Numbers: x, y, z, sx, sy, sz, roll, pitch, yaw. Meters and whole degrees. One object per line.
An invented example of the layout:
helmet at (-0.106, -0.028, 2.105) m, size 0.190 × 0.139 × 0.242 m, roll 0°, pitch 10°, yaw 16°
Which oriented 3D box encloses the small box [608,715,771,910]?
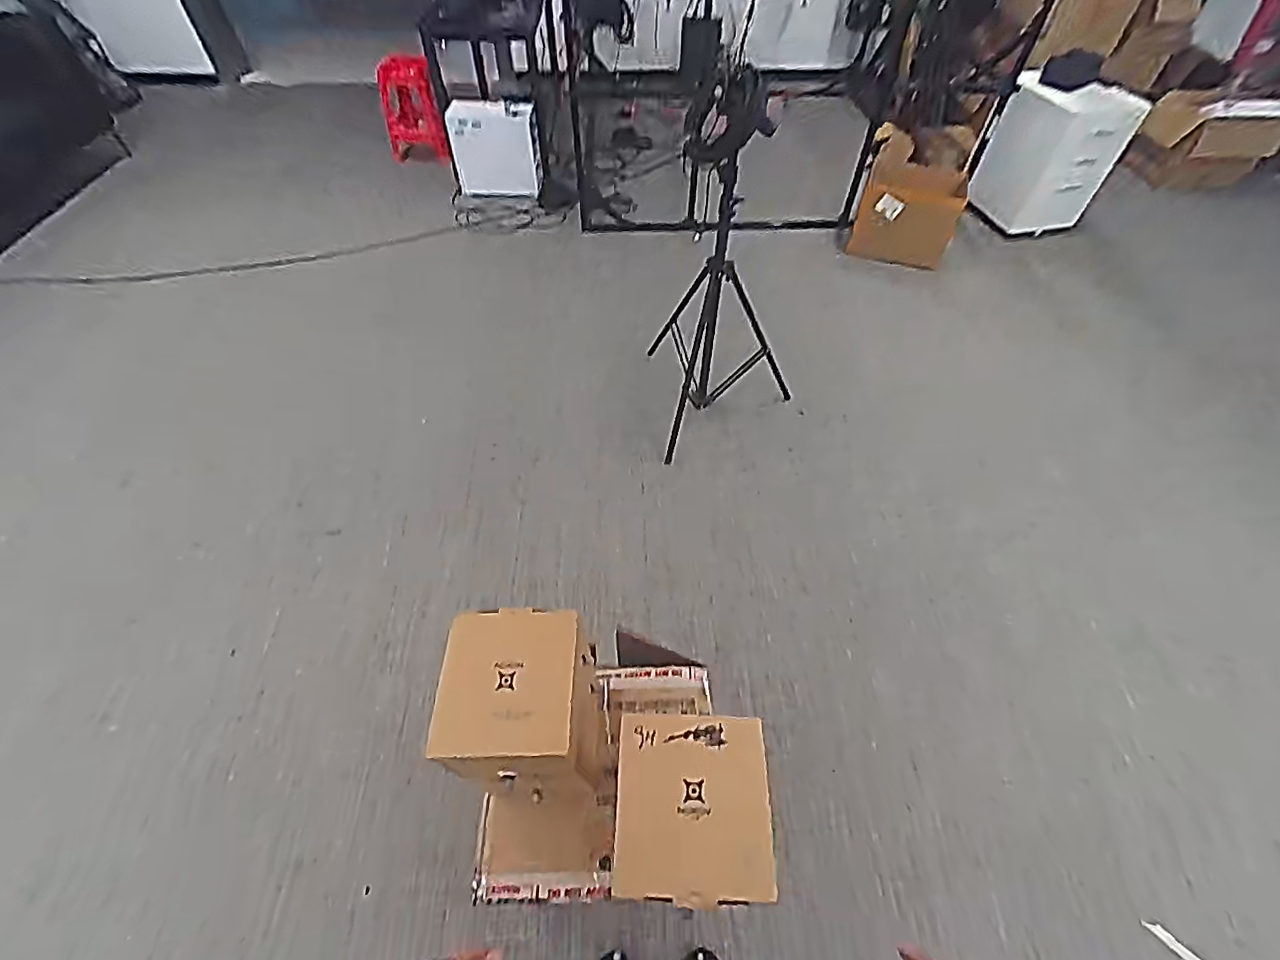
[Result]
small box at (0.053, 0.396, 0.648) m, size 0.168 × 0.176 × 0.179 m, roll 2°, pitch 54°, yaw 0°

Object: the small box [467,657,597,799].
small box at (-0.158, 0.392, 0.855) m, size 0.168 × 0.176 × 0.179 m, roll -2°, pitch 53°, yaw 0°

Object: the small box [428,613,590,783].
small box at (-0.159, 0.294, 0.725) m, size 0.168 × 0.176 × 0.179 m, roll -2°, pitch 53°, yaw 1°
